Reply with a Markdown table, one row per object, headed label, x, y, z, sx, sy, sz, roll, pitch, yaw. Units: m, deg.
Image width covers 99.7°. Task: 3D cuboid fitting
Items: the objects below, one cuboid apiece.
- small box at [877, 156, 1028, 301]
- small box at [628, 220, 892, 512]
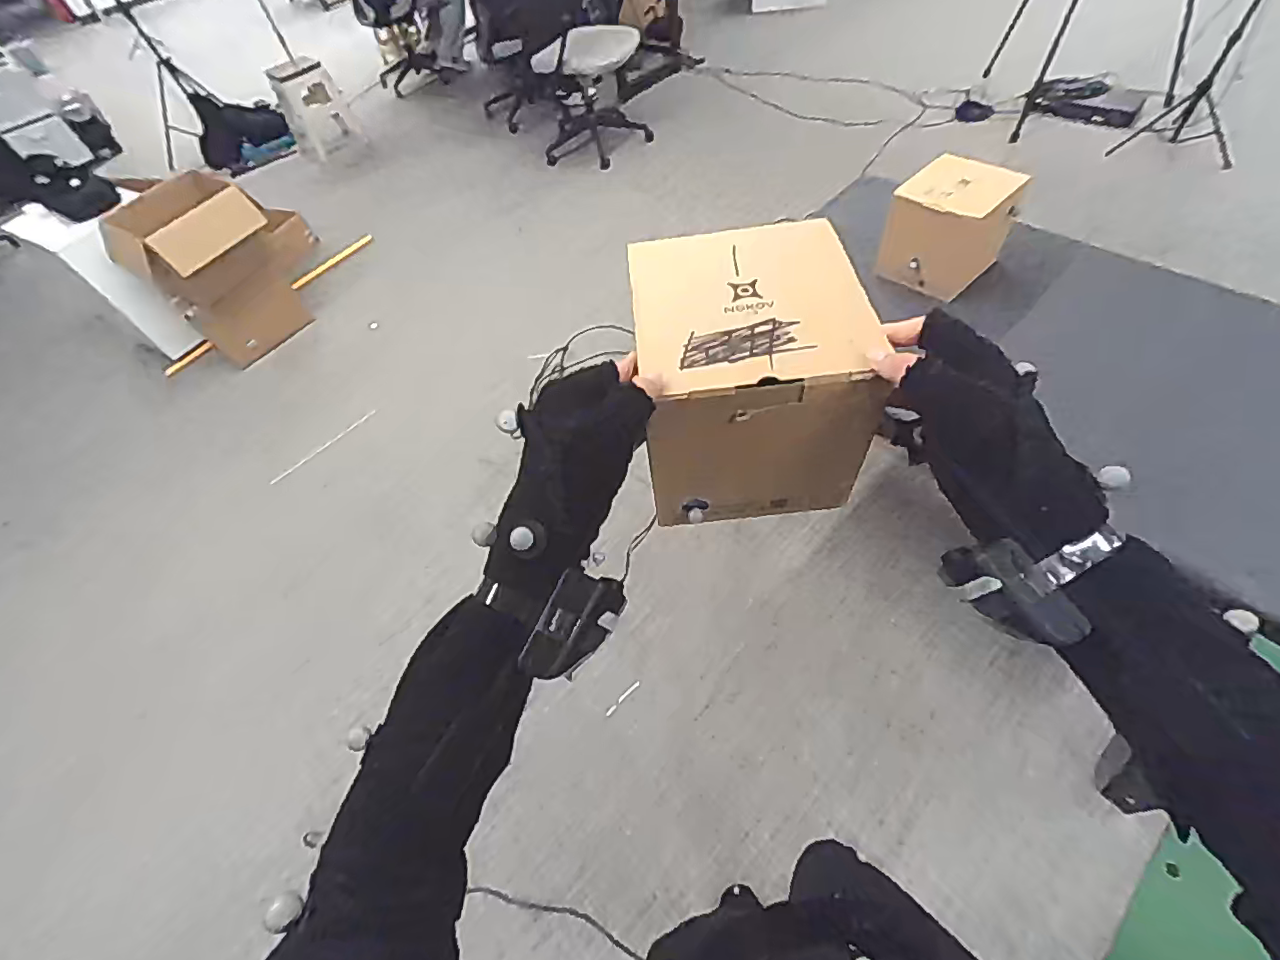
| label | x | y | z | sx | sy | sz | roll | pitch | yaw |
| --- | --- | --- | --- | --- | --- | --- | --- | --- | --- |
| small box | 0.582 | -0.479 | 1.034 | 0.179 | 0.176 | 0.168 | -40 | 58 | -18 |
| small box | 0.085 | -0.084 | 0.458 | 0.168 | 0.176 | 0.179 | -7 | 55 | 3 |
